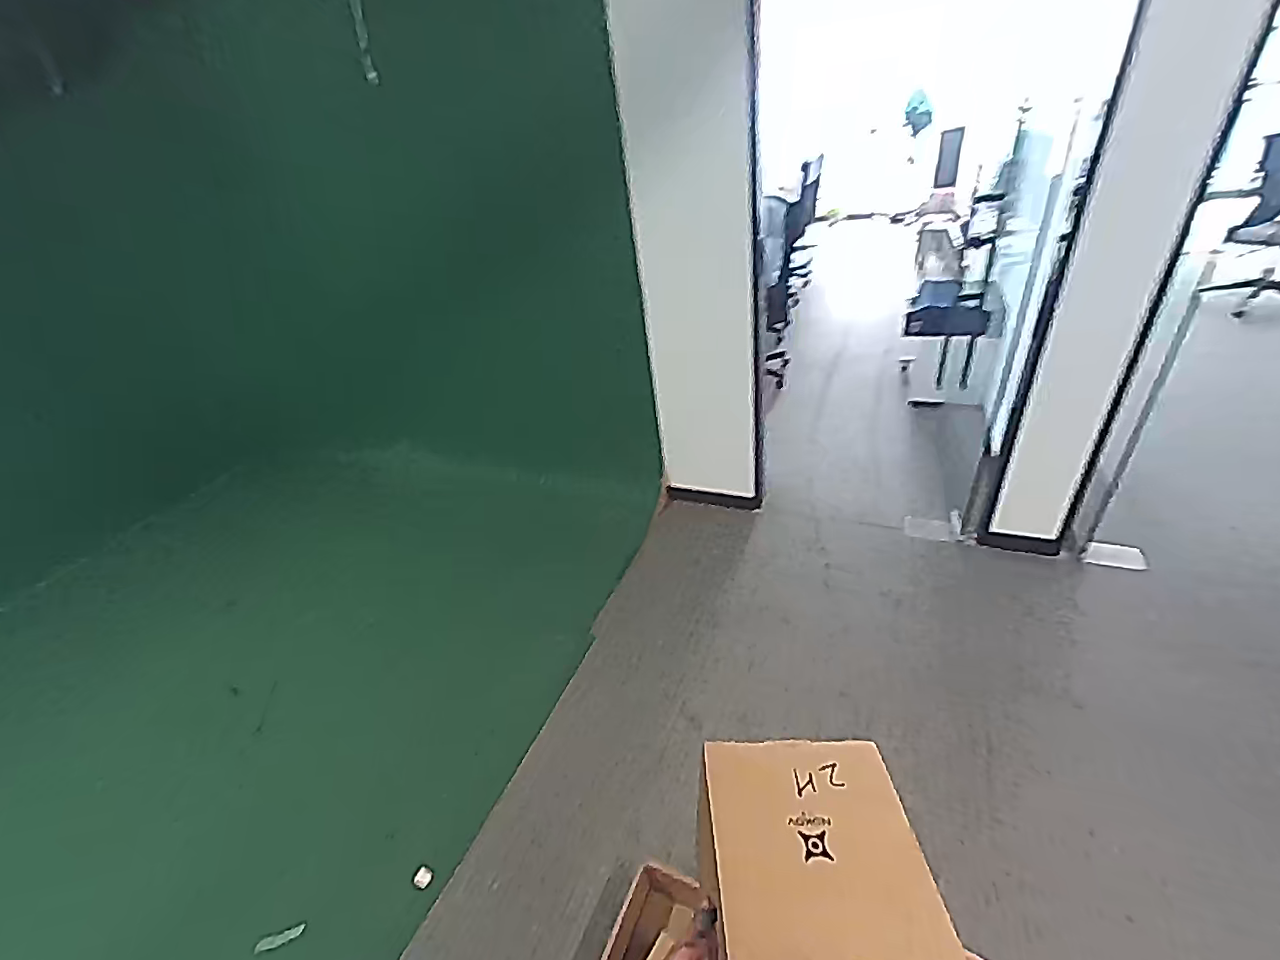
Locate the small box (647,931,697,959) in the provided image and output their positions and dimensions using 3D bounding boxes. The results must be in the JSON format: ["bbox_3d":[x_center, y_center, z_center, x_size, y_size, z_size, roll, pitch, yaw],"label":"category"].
[{"bbox_3d":[0.074,1.107,1.117,0.168,0.176,0.179,18,41,34],"label":"small box"}]

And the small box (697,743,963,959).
[{"bbox_3d":[0.140,0.360,0.471,0.168,0.176,0.179,0,27,0],"label":"small box"}]
